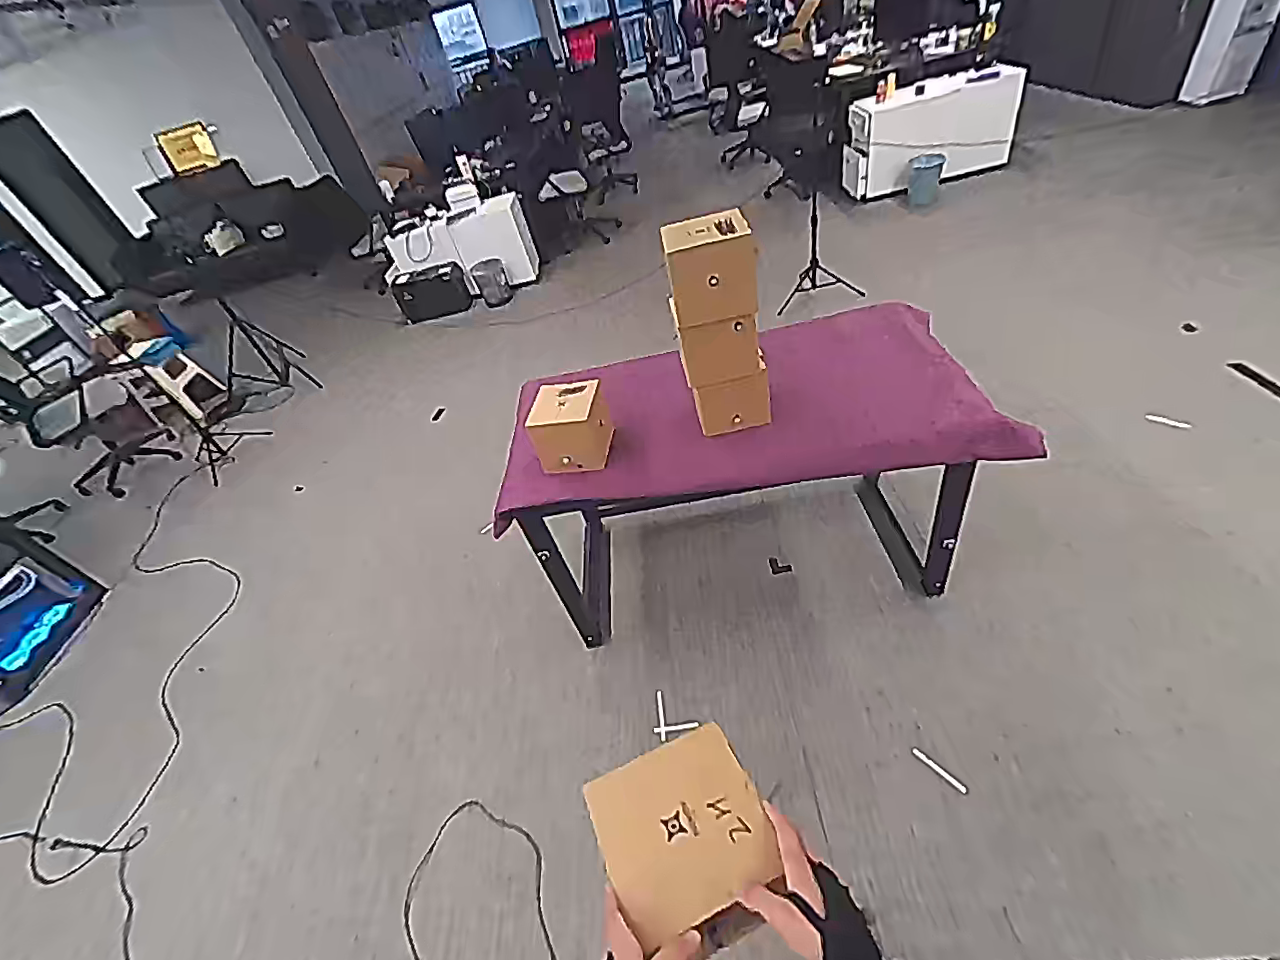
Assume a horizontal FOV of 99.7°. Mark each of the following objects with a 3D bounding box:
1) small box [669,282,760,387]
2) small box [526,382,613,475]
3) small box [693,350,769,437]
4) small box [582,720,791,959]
[{"bbox_3d":[0.177,-0.342,1.286,0.179,0.176,0.168,-12,41,5],"label":"small box"},{"bbox_3d":[-0.175,-0.135,1.423,0.168,0.176,0.179,-4,44,14],"label":"small box"},{"bbox_3d":[0.231,-0.236,1.400,0.179,0.176,0.168,-12,41,4],"label":"small box"},{"bbox_3d":[0.053,0.420,0.620,0.179,0.176,0.168,-20,42,-12],"label":"small box"}]
